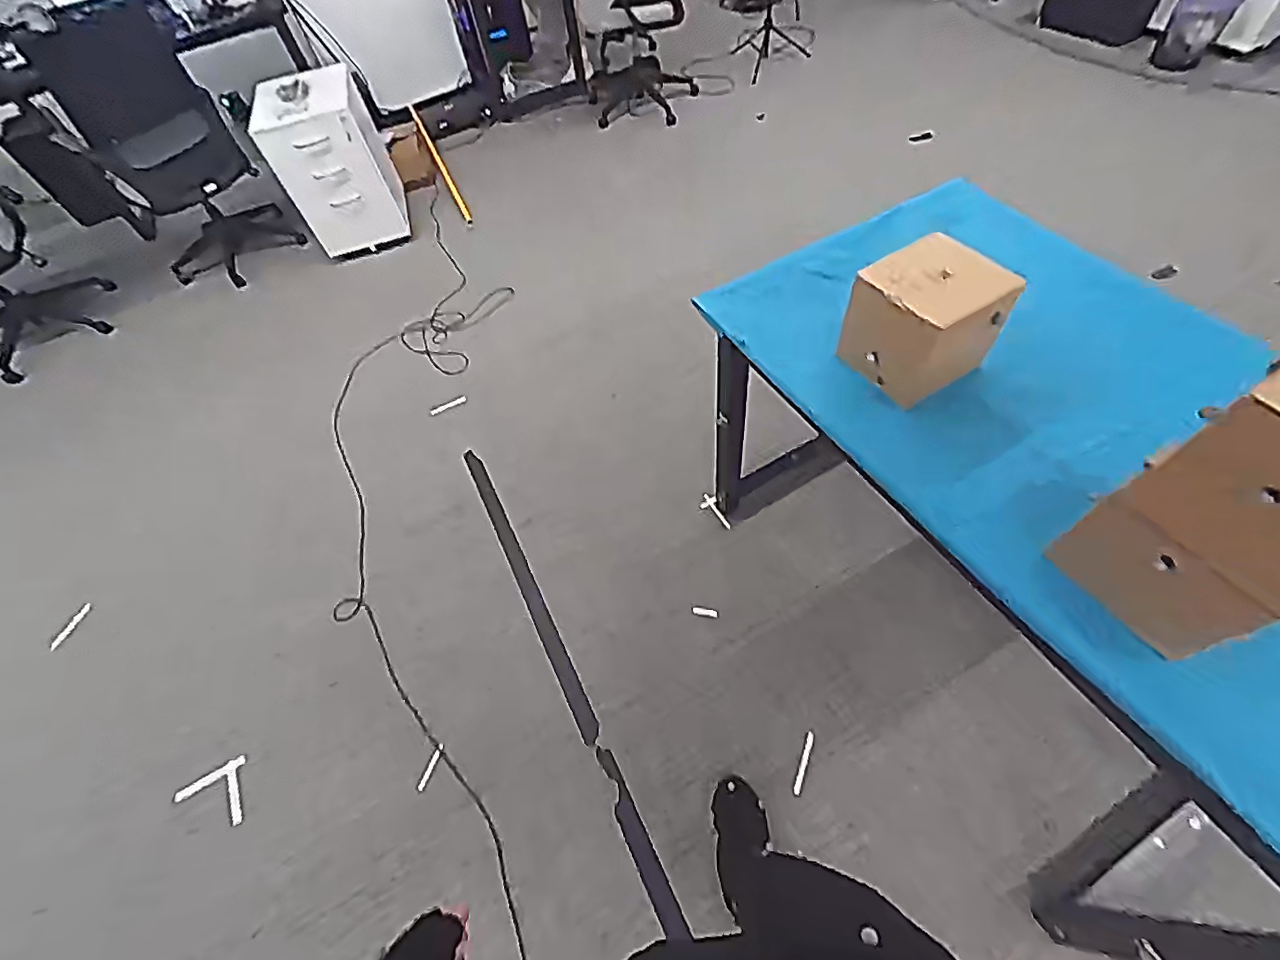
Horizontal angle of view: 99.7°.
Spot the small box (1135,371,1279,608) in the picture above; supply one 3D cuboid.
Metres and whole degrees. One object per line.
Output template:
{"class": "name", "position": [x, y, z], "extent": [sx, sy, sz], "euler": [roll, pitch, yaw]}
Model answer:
{"class": "small box", "position": [0.618, -0.003, 0.483], "extent": [0.168, 0.176, 0.179], "euler": [-31, 59, -13]}

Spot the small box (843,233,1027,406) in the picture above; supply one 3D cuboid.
{"class": "small box", "position": [0.454, -0.253, 0.867], "extent": [0.179, 0.176, 0.168], "euler": [-27, 56, -7]}

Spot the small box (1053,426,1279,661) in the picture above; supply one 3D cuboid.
{"class": "small box", "position": [0.640, 0.077, 0.623], "extent": [0.168, 0.176, 0.179], "euler": [-28, 57, -10]}
